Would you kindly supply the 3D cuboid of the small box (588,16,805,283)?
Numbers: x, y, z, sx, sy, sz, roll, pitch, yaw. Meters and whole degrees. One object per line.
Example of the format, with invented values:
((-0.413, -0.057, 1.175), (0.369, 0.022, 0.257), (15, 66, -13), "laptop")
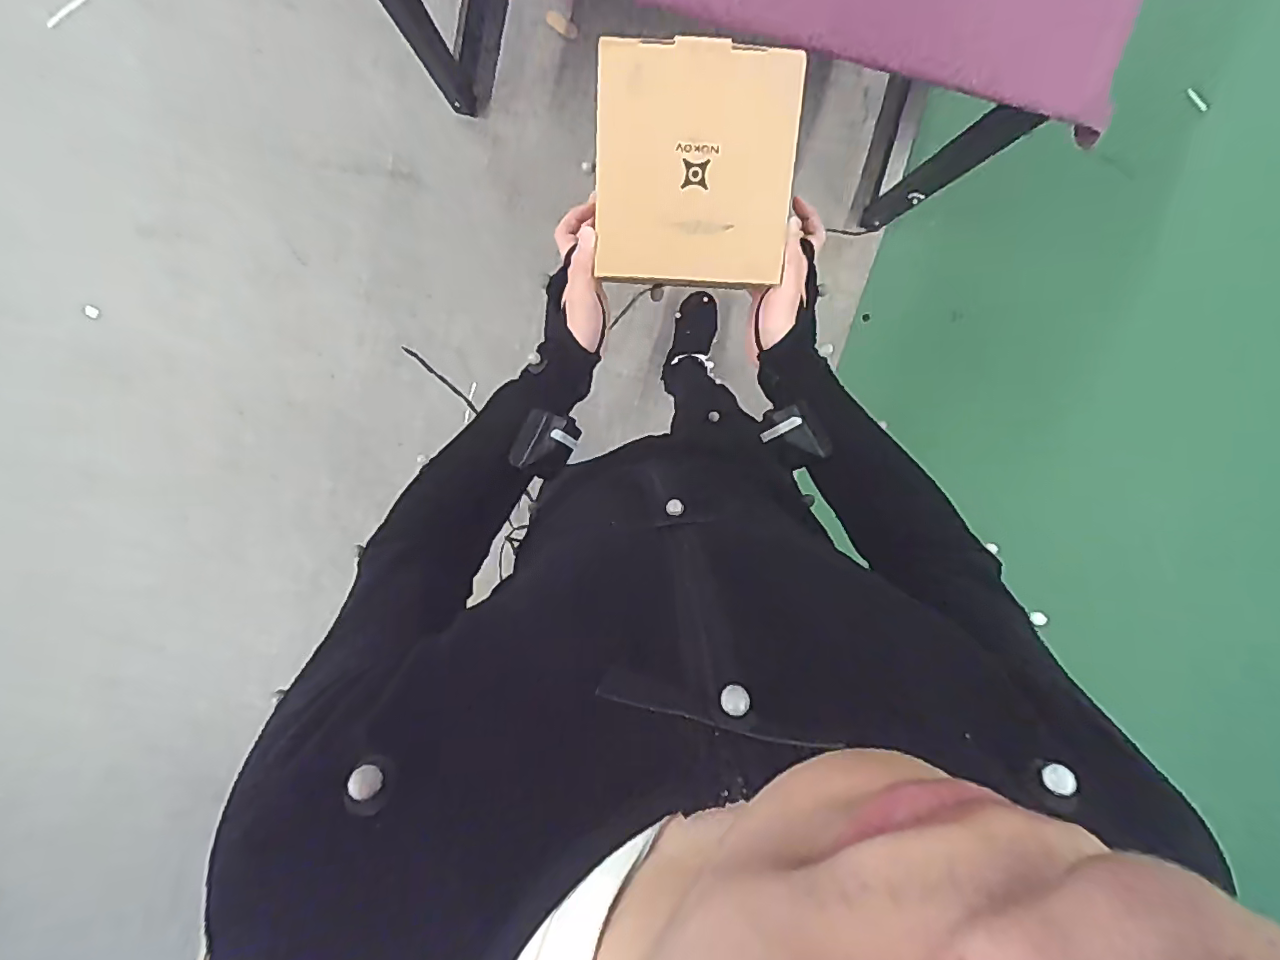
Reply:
((0.039, -0.286, 0.509), (0.168, 0.176, 0.179), (2, 108, -2), "small box")
